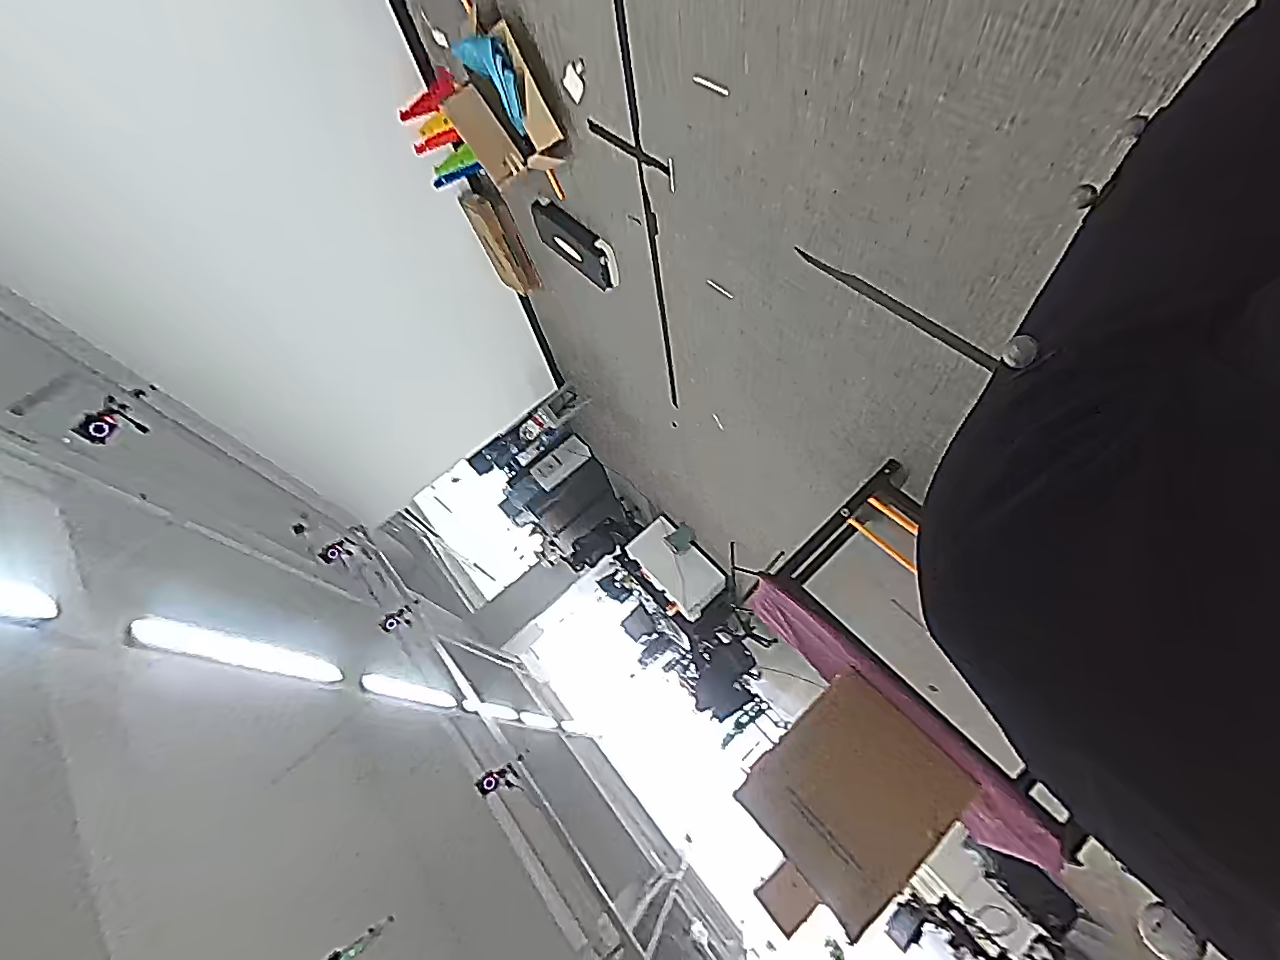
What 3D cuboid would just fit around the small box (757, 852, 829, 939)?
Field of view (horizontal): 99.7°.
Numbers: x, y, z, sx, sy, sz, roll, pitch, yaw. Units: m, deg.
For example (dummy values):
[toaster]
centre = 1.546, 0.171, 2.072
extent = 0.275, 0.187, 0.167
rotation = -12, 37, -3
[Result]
[small box]
centre = 0.533, 1.469, 1.910
extent = 0.179, 0.176, 0.168
rotation = 45, 167, 27
